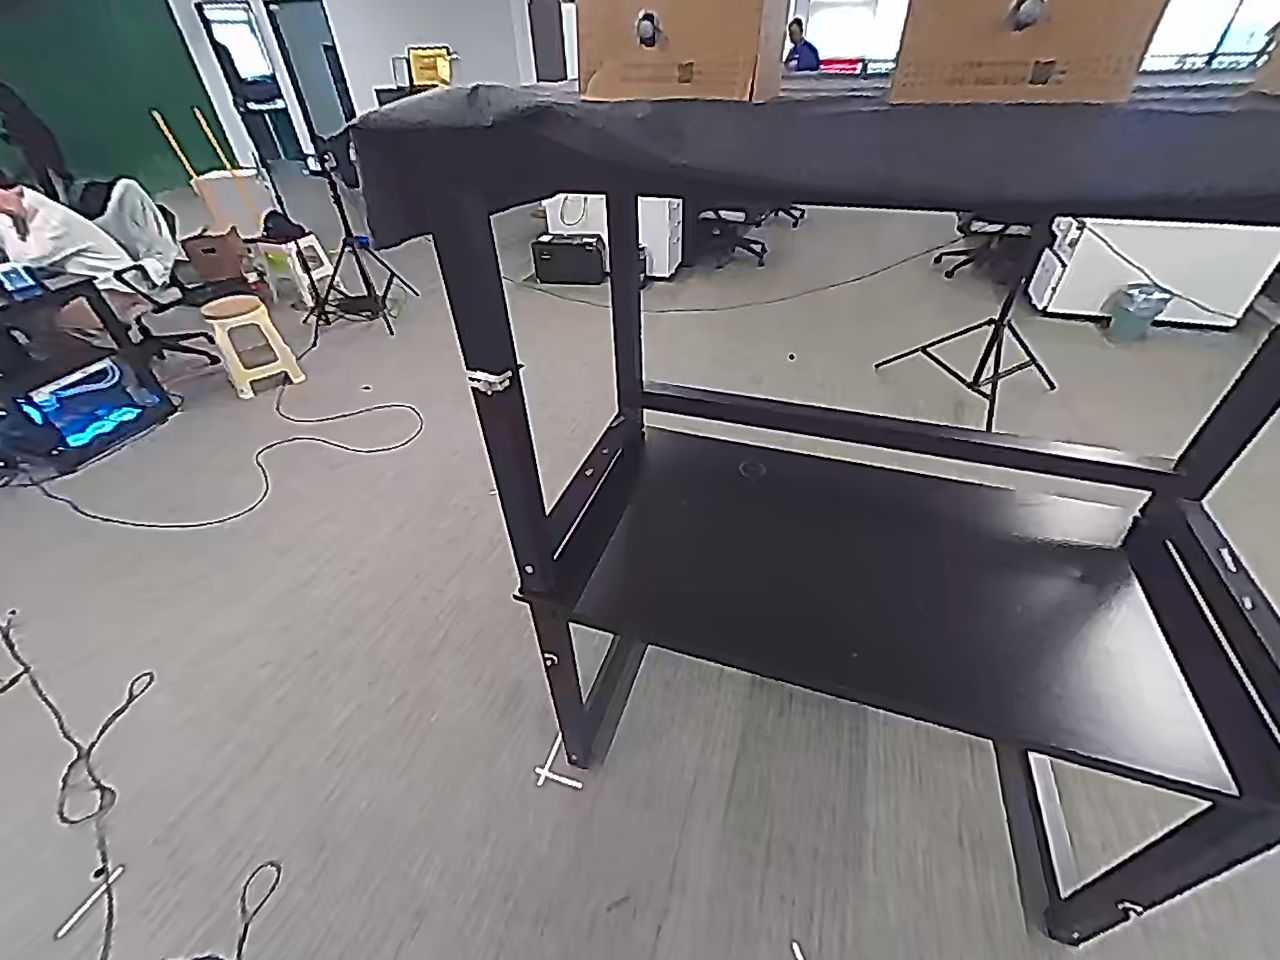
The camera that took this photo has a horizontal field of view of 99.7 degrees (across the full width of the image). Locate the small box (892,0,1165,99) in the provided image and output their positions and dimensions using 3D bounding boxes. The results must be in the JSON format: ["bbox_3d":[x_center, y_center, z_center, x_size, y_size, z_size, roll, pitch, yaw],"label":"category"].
[{"bbox_3d":[0.307,-0.411,0.429,0.168,0.176,0.179,12,39,17],"label":"small box"}]

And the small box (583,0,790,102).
[{"bbox_3d":[0.049,-0.461,0.501,0.168,0.176,0.179,12,40,14],"label":"small box"}]
